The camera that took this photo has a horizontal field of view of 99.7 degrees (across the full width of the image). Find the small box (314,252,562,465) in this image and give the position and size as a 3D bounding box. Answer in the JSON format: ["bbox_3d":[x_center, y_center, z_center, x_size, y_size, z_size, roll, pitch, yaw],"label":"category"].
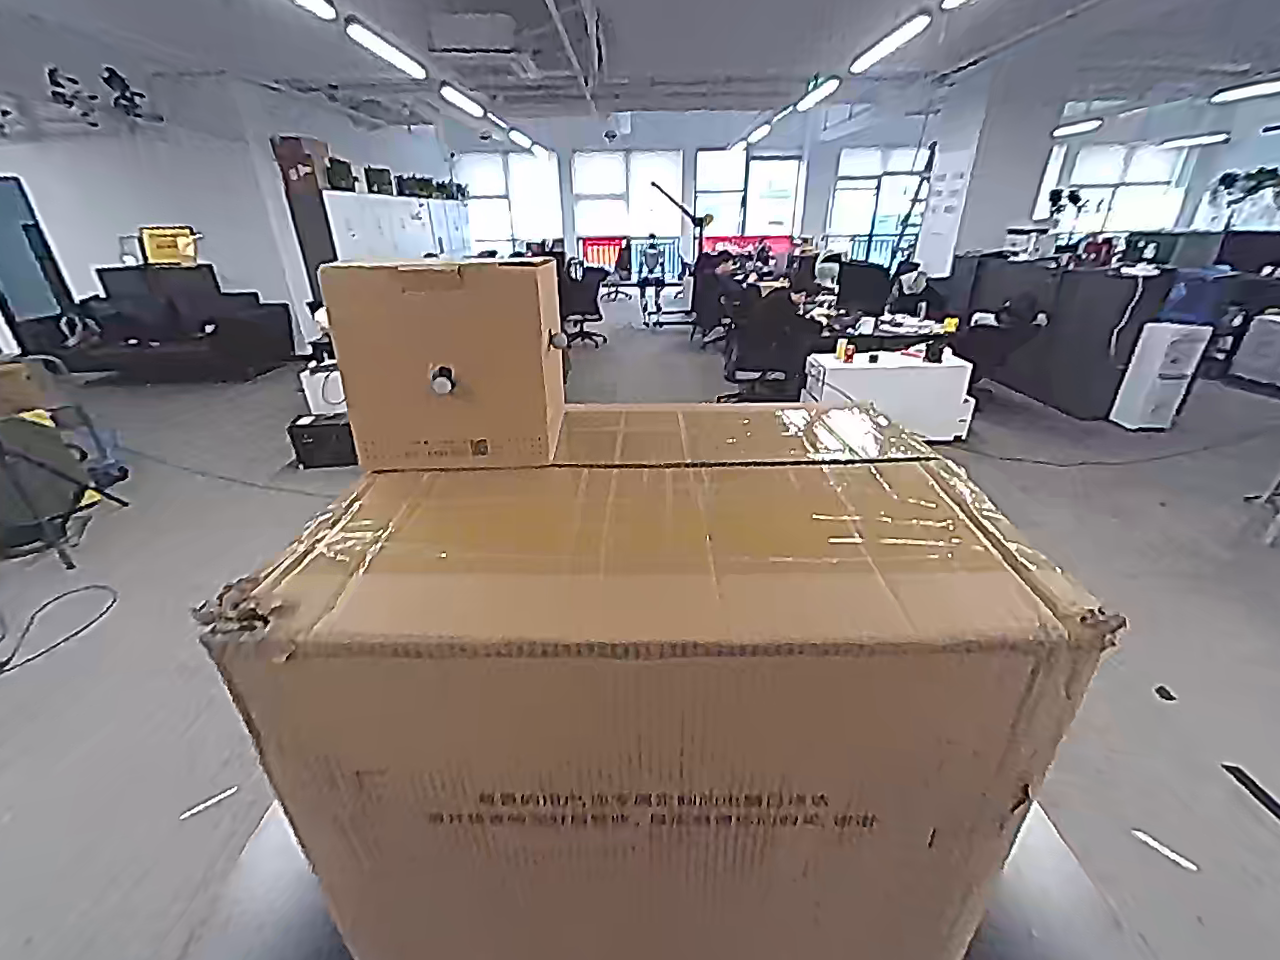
[{"bbox_3d":[-0.164,-0.118,0.510,0.168,0.176,0.179,-2,24,-3],"label":"small box"}]
